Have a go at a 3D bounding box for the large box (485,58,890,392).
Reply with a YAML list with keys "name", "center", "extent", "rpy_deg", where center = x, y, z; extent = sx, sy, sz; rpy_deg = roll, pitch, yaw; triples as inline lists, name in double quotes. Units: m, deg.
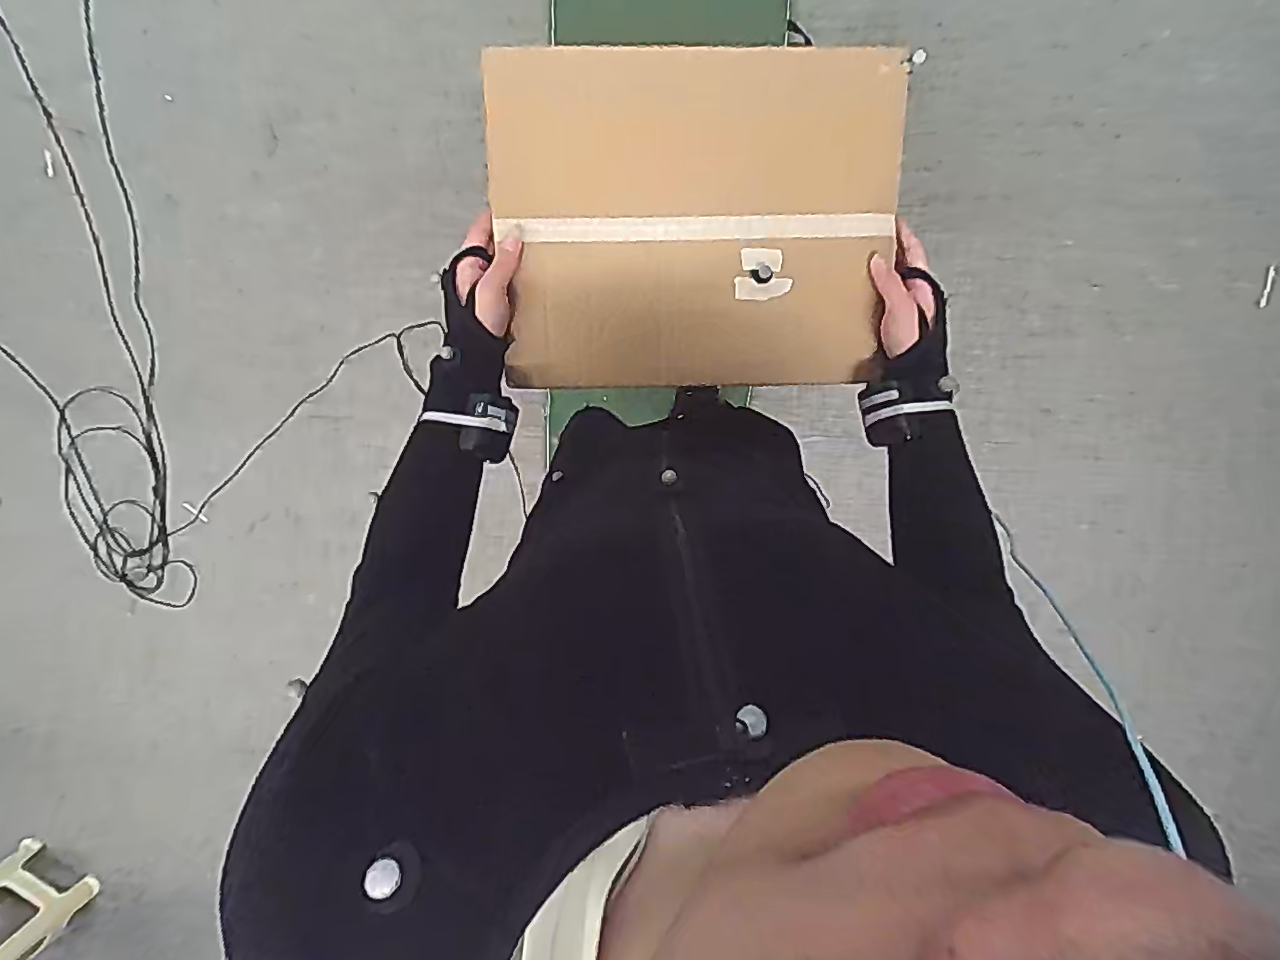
- name: "large box"
  center: [0.046, -0.289, 0.702]
  extent: [0.408, 0.320, 0.320]
  rpy_deg: [-2, 104, -2]
